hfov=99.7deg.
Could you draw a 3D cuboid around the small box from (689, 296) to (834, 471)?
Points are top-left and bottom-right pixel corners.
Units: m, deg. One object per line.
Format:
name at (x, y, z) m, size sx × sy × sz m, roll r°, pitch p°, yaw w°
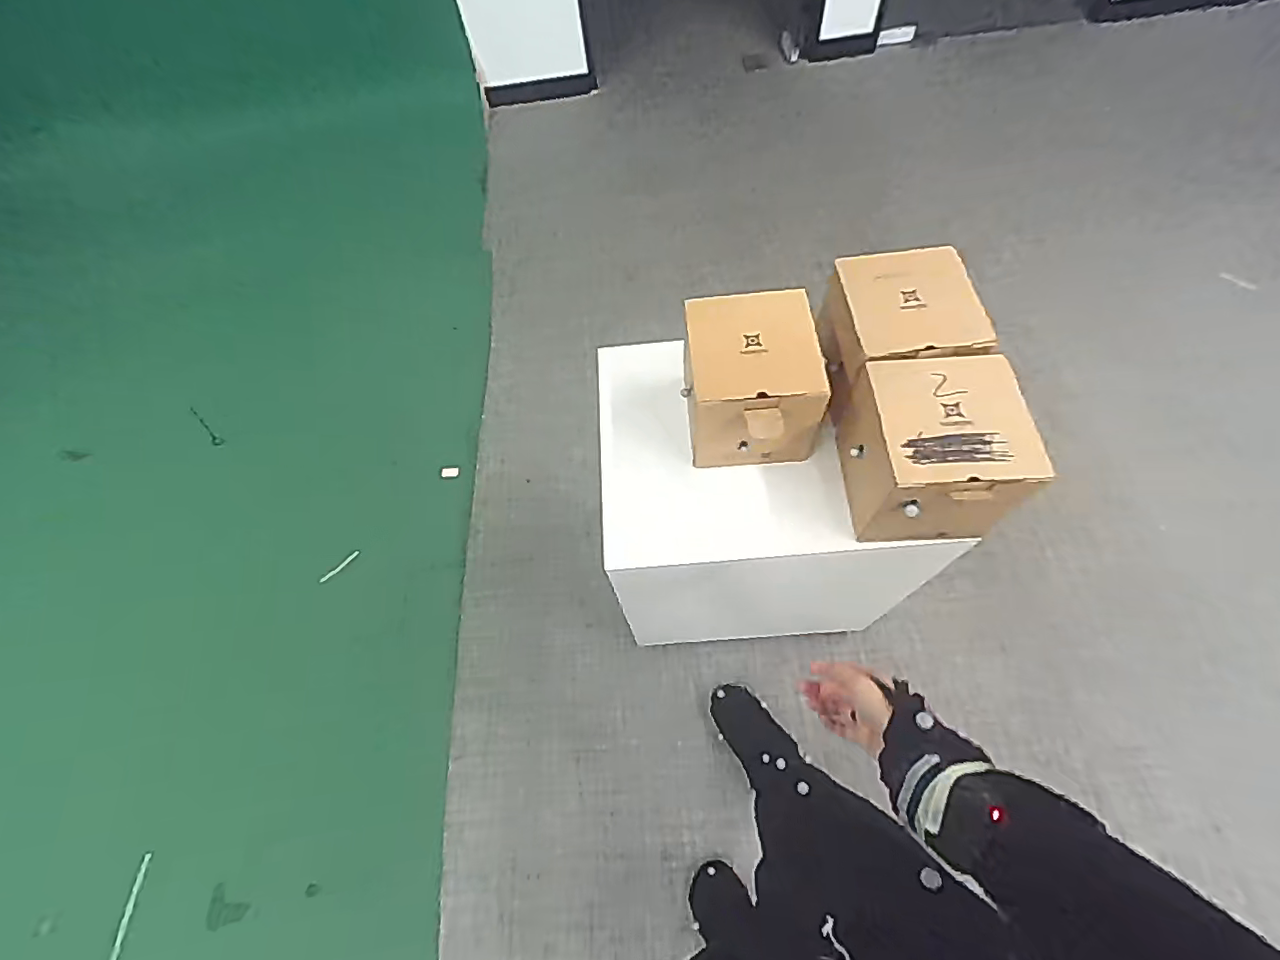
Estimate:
small box at (0.157, -0.131, 0.767) m, size 0.168 × 0.176 × 0.179 m, roll -4°, pitch 62°, yaw 3°
